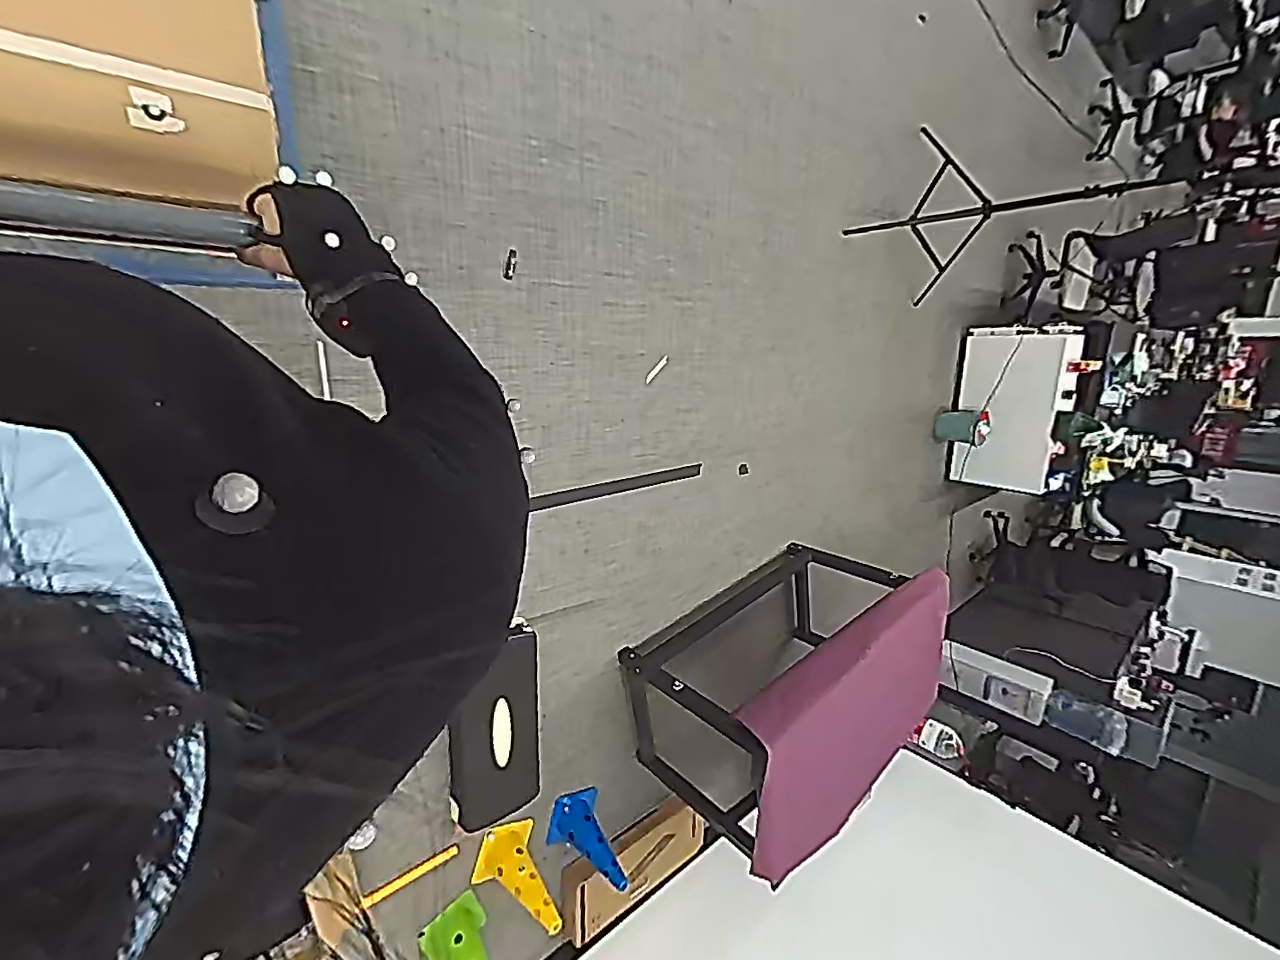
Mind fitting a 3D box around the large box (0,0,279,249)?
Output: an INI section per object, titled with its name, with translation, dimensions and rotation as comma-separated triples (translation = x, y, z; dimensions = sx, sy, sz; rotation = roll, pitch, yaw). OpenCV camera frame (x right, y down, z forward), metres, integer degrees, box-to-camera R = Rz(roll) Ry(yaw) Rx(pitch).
[large box]
translation = -0.799, -0.535, 0.774
dimensions = 0.408, 0.320, 0.320
rotation = -11, 108, -40
